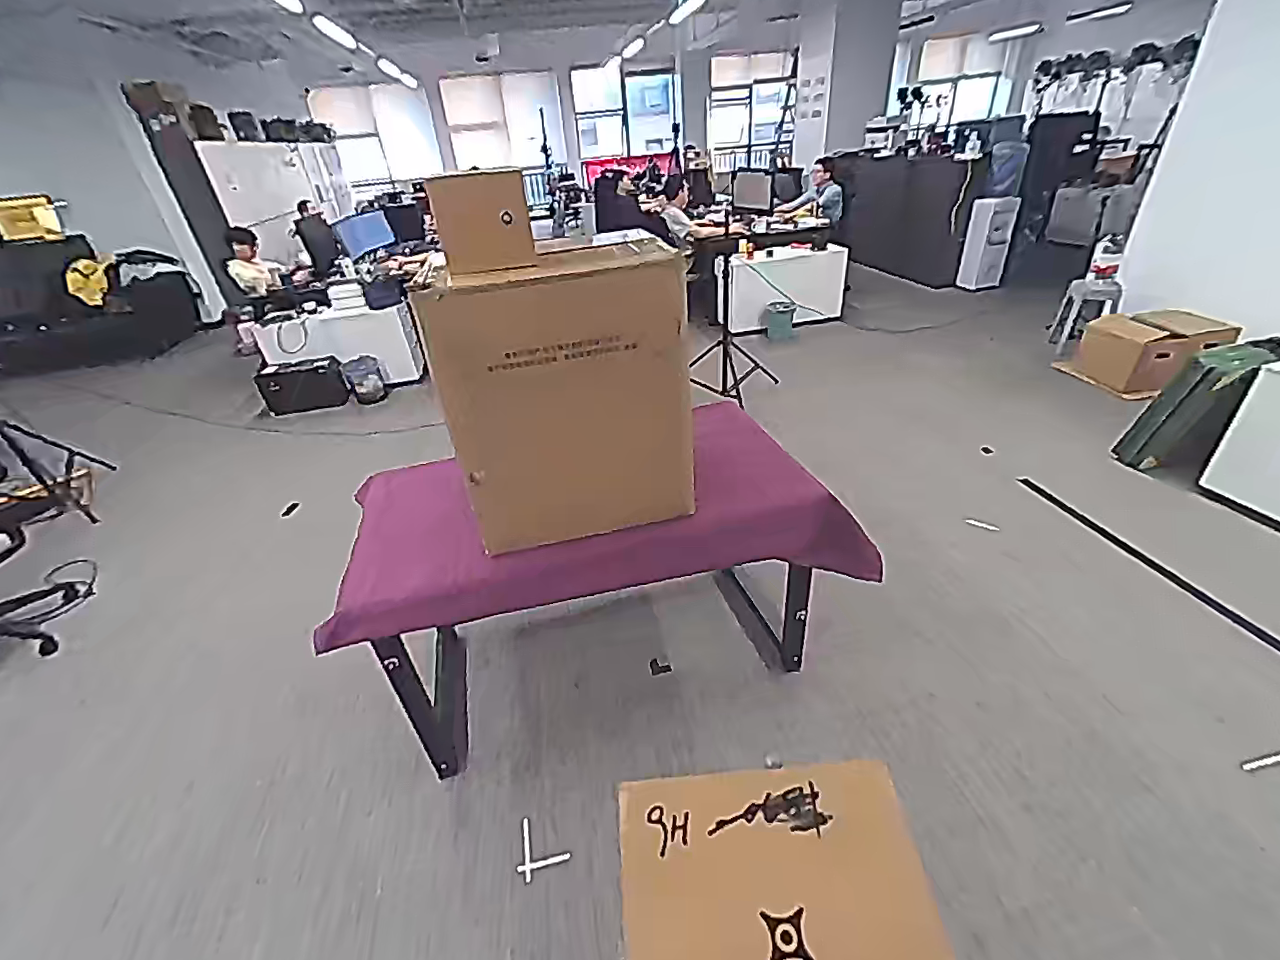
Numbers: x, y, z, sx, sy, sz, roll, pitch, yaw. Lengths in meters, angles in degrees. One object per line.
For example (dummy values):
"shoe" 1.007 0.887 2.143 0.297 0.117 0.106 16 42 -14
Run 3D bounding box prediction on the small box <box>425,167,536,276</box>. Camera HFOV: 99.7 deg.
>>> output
"small box" -0.308 -0.516 1.076 0.179 0.176 0.168 -12 32 -9
